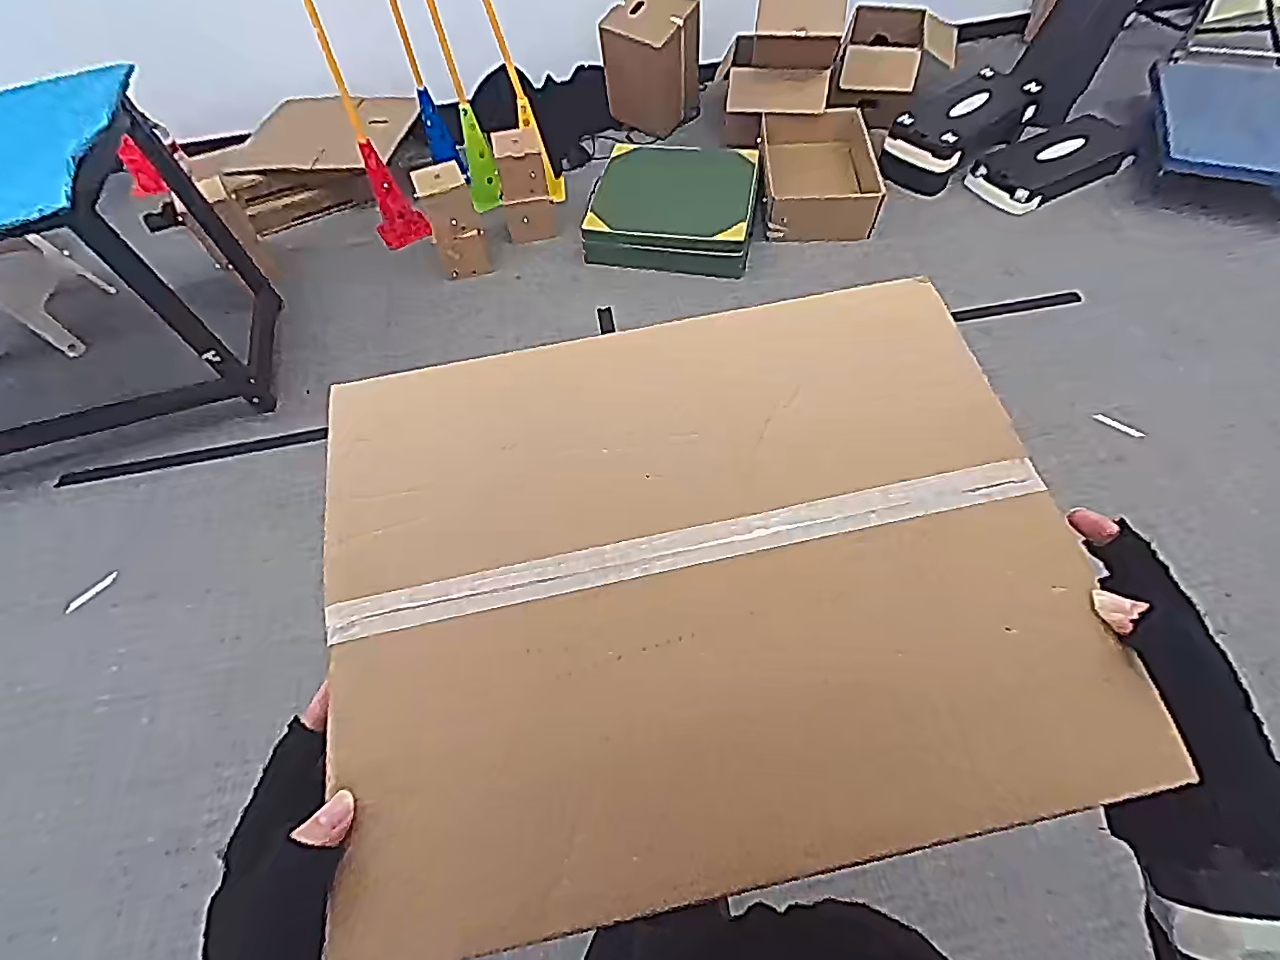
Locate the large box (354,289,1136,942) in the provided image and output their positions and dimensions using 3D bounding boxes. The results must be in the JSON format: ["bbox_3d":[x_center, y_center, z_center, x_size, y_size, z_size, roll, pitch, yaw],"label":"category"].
[{"bbox_3d":[0.034,0.098,0.457,0.408,0.320,0.320,-12,68,-3],"label":"large box"}]
